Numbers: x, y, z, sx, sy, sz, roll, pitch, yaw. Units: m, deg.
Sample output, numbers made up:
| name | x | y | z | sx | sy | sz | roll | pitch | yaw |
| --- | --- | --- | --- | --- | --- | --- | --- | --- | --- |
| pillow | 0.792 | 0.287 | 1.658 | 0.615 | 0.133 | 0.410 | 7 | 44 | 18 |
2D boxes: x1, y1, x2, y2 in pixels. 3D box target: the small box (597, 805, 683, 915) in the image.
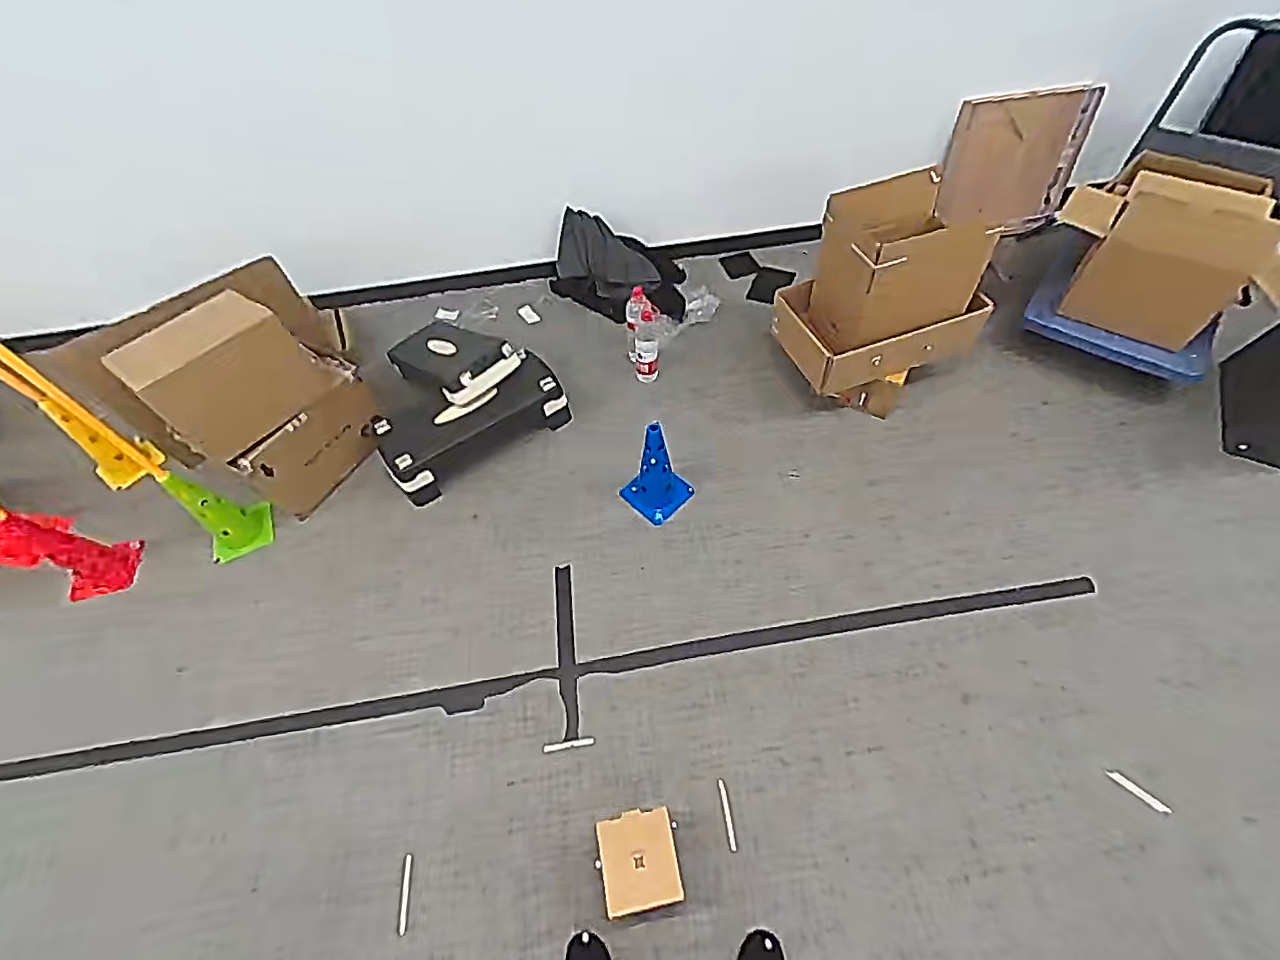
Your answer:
| name | x | y | z | sx | sy | sz | roll | pitch | yaw |
| --- | --- | --- | --- | --- | --- | --- | --- | --- | --- |
| small box | 0.004 | 0.867 | 1.244 | 0.168 | 0.176 | 0.179 | -11 | 56 | -4 |
